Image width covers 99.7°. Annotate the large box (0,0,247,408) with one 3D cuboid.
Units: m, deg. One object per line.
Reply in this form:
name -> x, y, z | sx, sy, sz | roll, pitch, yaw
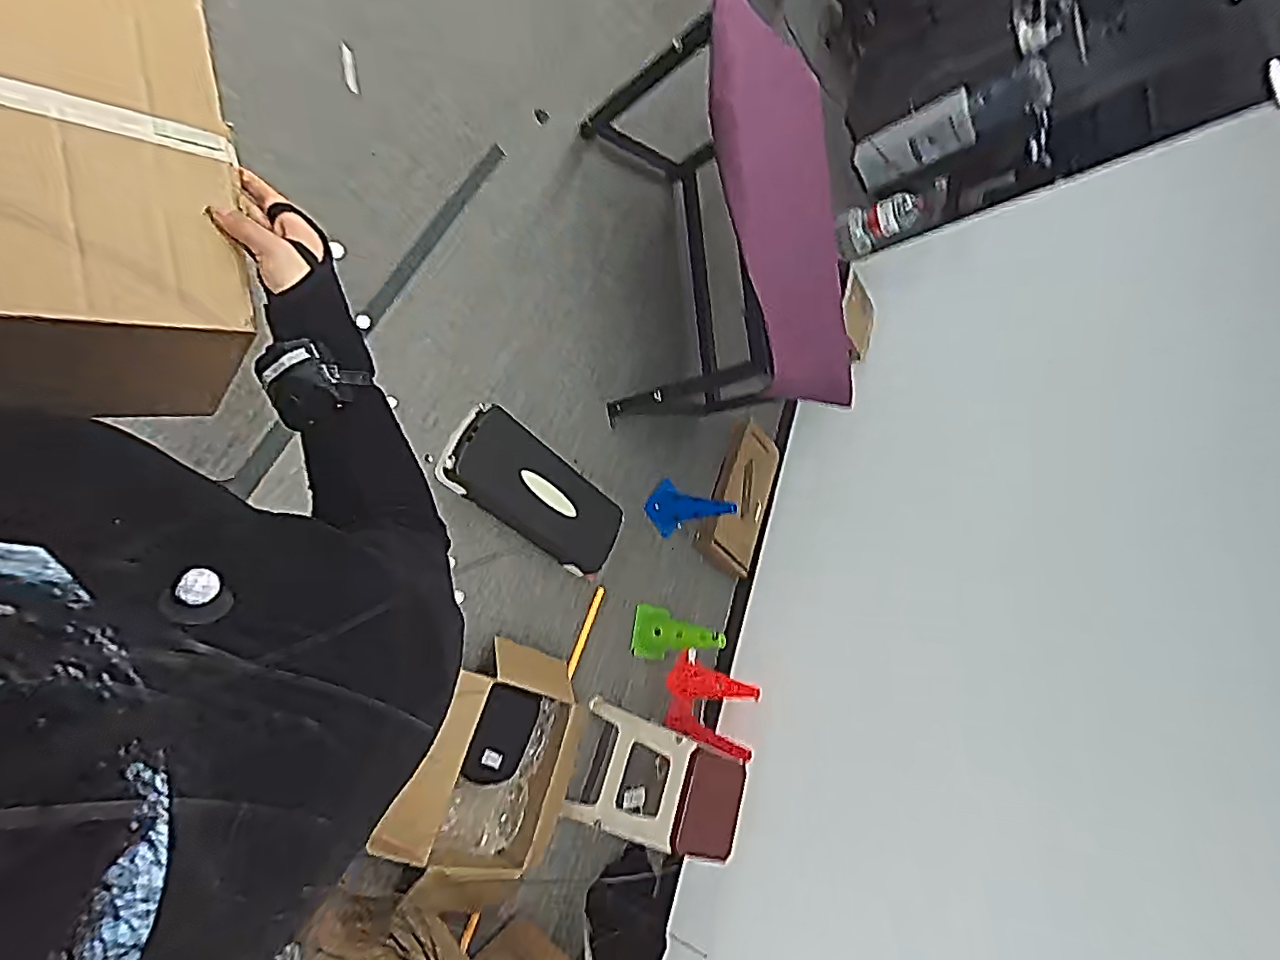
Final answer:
large box -> -0.608, -0.238, 0.435 | 0.408, 0.320, 0.320 | -11, 88, -45
